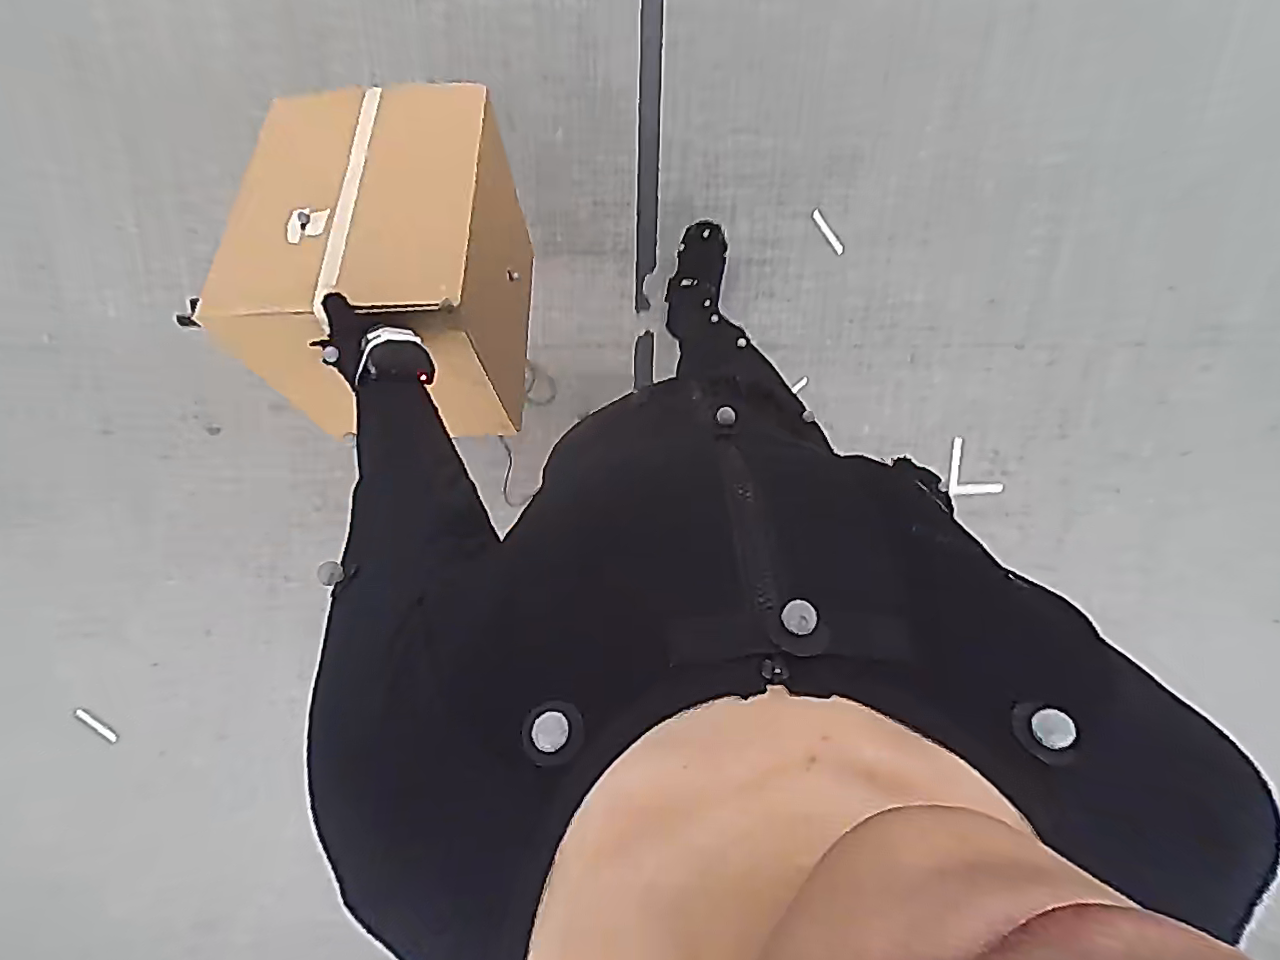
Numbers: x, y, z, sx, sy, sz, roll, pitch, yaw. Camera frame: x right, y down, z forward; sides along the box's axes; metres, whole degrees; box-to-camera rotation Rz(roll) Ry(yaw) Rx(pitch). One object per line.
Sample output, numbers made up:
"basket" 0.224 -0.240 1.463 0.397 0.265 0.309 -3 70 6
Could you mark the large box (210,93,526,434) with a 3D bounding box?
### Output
"large box" -0.369 -0.322 0.855 0.320 0.320 0.408 -3 68 2
